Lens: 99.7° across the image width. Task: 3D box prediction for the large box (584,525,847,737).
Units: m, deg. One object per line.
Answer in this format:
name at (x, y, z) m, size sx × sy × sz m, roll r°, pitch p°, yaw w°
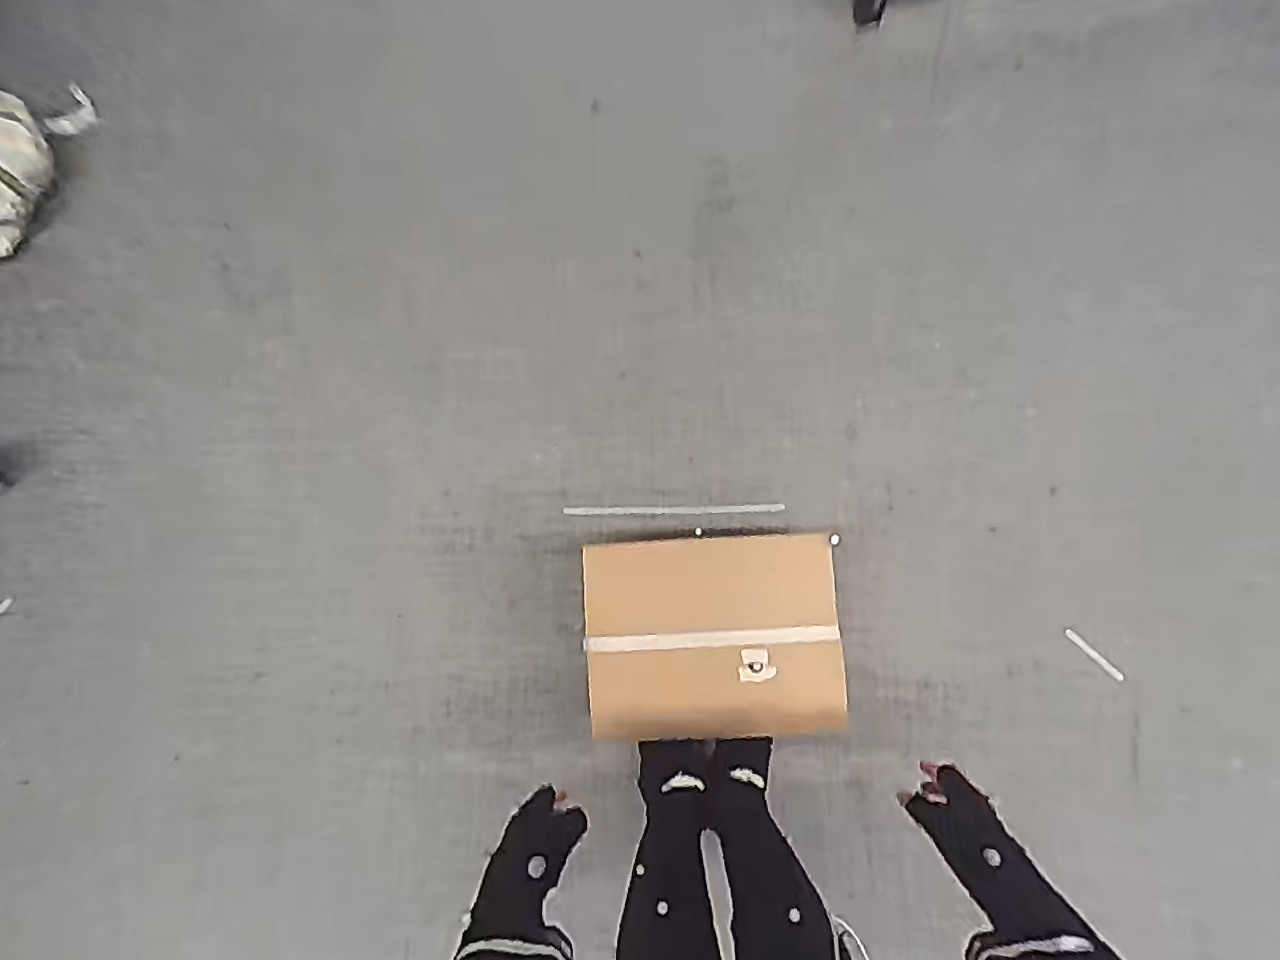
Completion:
large box at (0.122, 0.256, 1.013) m, size 0.408 × 0.320 × 0.320 m, roll -4°, pitch 85°, yaw 3°
